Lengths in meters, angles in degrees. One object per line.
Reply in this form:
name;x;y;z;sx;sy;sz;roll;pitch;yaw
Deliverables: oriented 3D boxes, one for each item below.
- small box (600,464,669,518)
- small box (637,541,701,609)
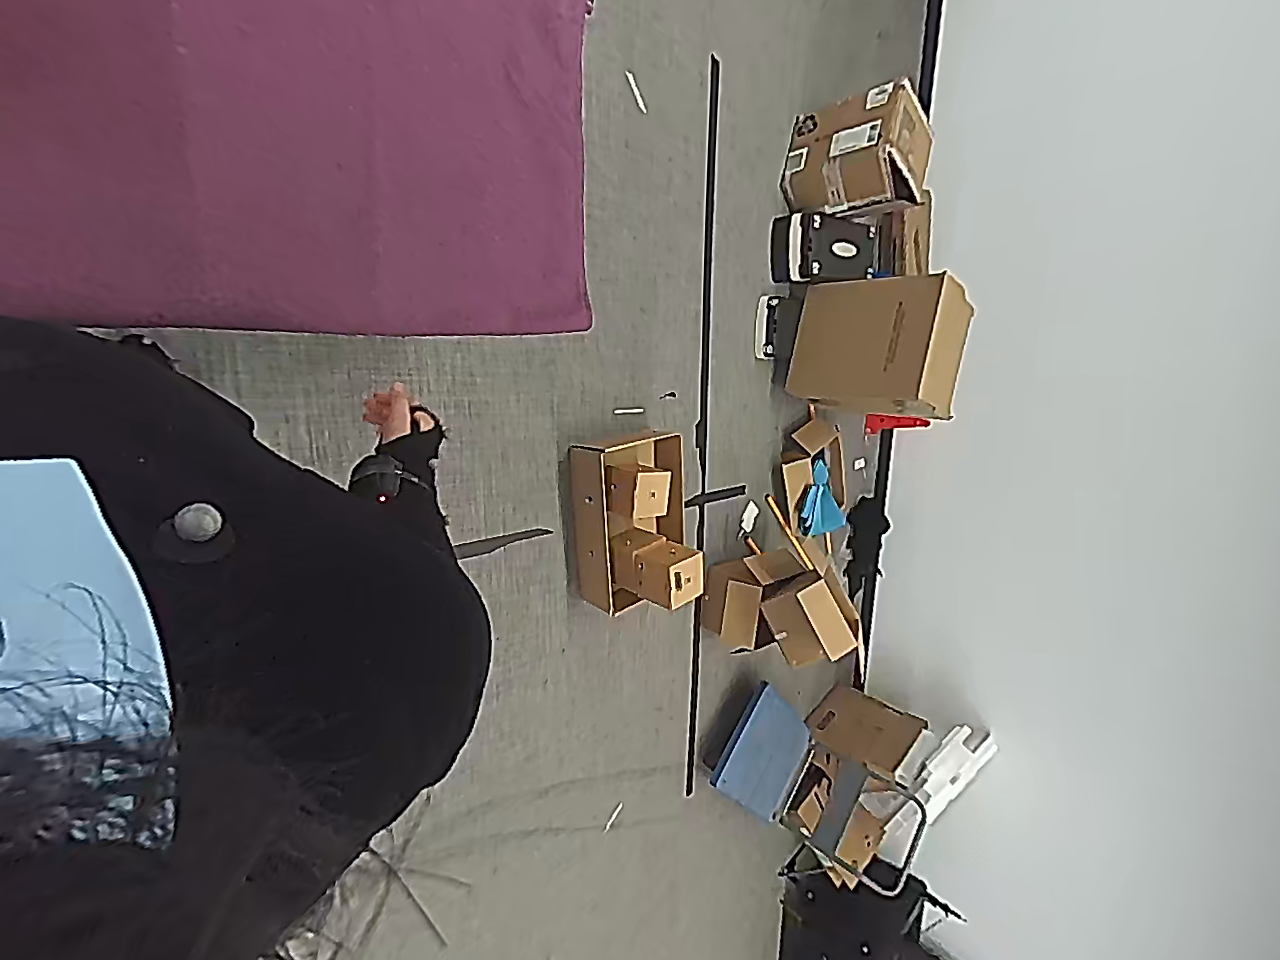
small box;-0.020;0.034;1.977;0.179;0.176;0.168;-3;103;-45
small box;0.099;0.332;1.929;0.179;0.176;0.168;-17;111;-43
